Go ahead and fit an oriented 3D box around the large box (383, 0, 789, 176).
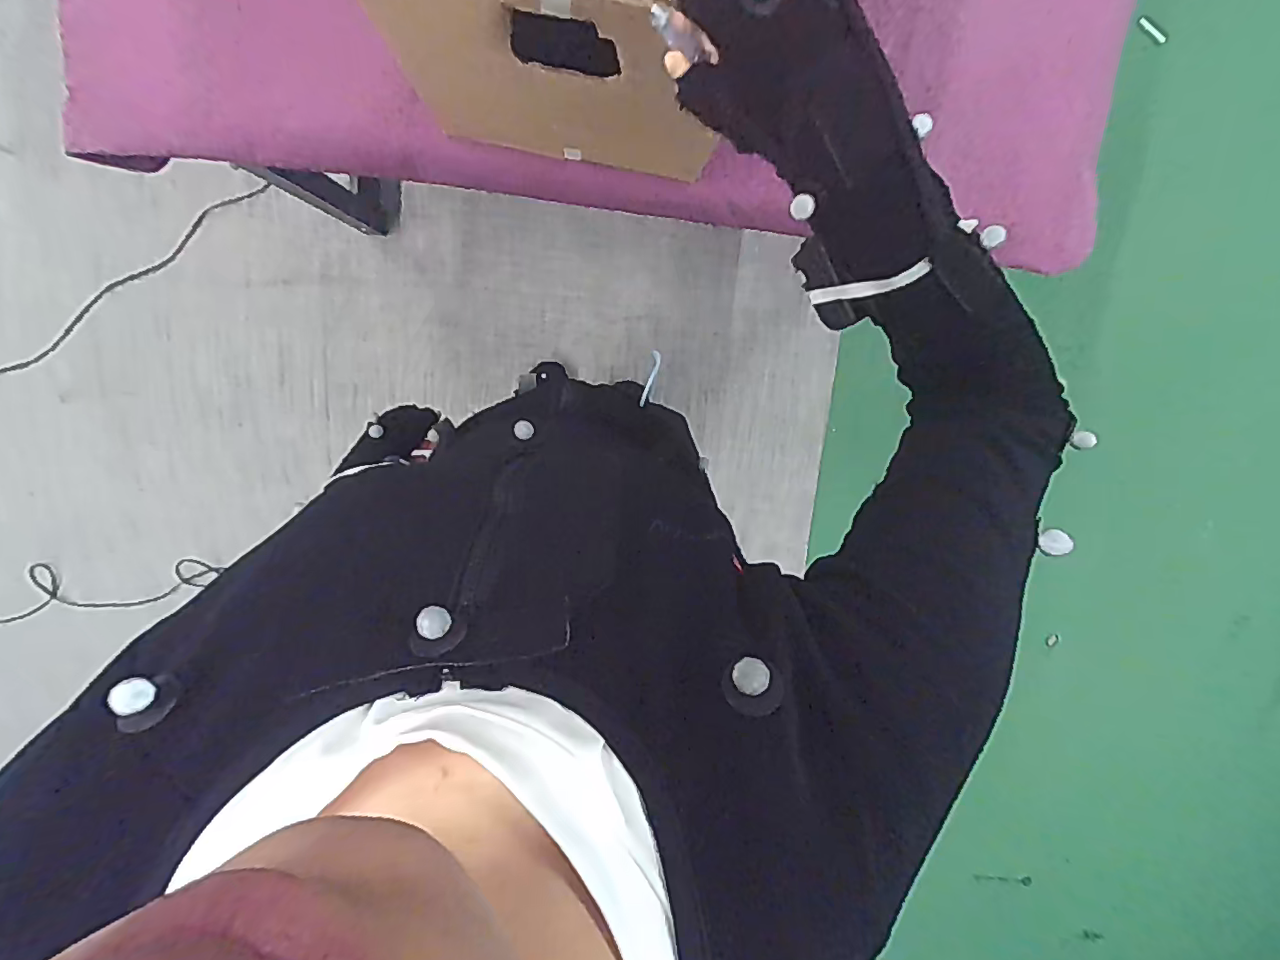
[{"bbox_3d":[-0.034,-0.561,0.484,0.320,0.320,0.408,7,102,-6],"label":"large box"}]
